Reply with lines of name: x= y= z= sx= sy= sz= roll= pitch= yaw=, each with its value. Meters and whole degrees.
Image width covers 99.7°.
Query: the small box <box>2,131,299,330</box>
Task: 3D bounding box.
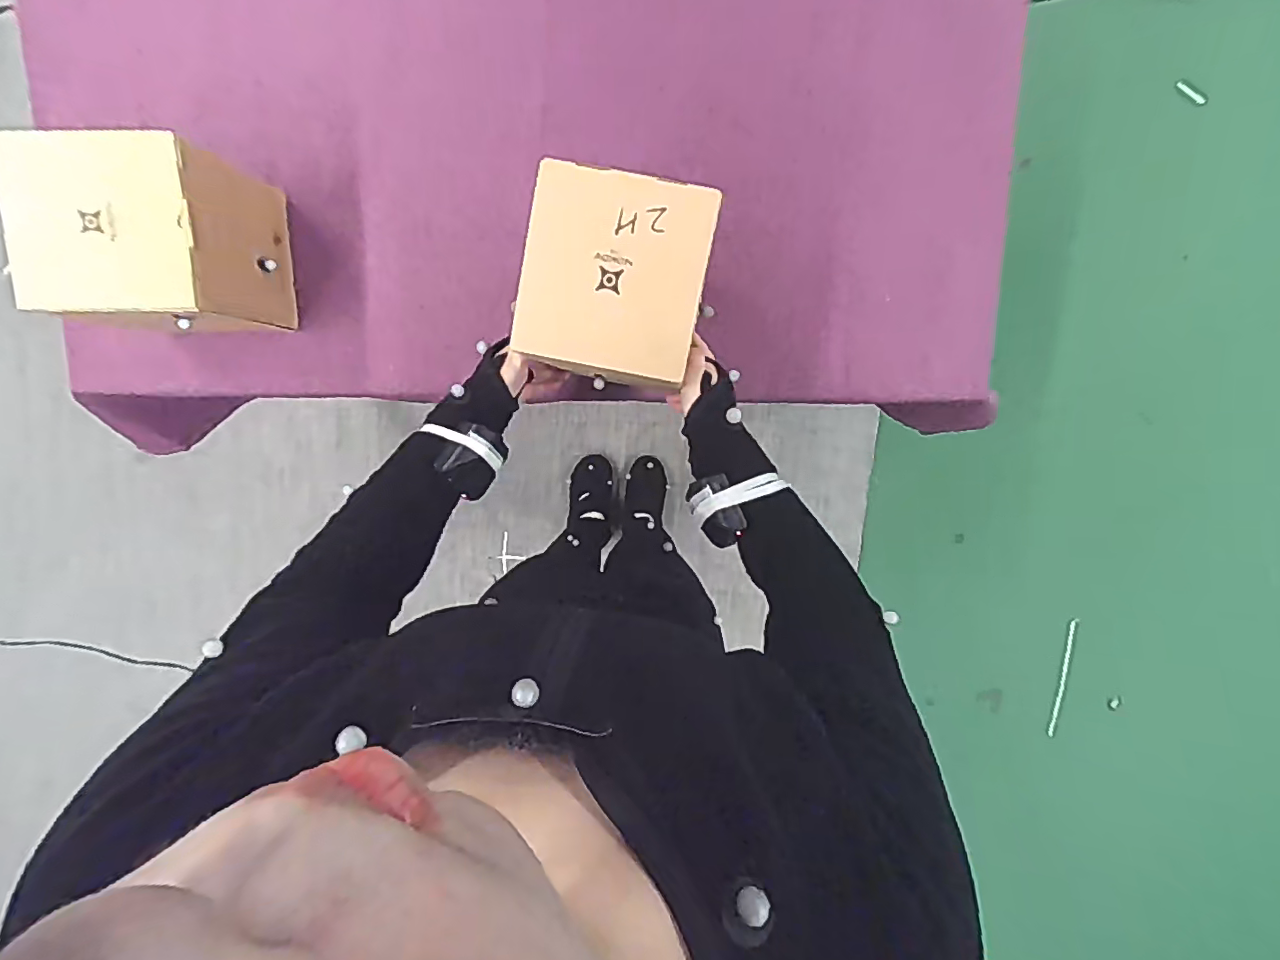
small box: x=-0.525 y=-0.263 z=0.607 sx=0.179 sy=0.176 sz=0.168 roll=-1 pitch=98 yaw=-2

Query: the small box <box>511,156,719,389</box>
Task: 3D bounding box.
small box: x=-0.019 y=-0.198 z=0.571 sx=0.168 sy=0.176 sz=0.179 roll=12 pitch=96 yaw=2
